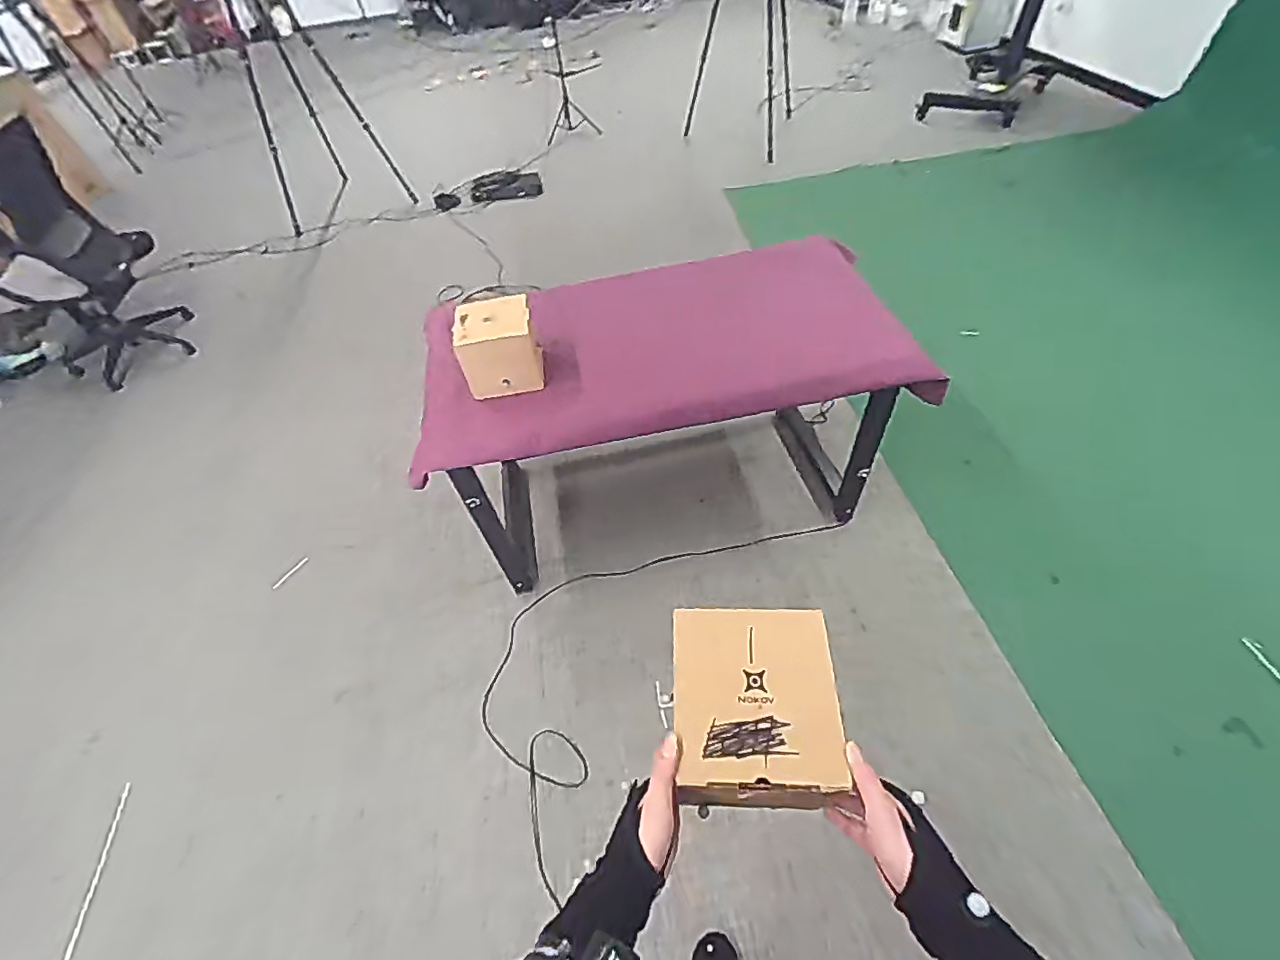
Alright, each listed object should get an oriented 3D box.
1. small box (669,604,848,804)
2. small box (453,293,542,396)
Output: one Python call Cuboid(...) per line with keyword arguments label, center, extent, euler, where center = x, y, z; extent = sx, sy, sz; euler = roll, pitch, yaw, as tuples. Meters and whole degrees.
Cuboid(label="small box", center=(0.117, 0.254, 0.607), extent=(0.168, 0.176, 0.179), euler=(0, 53, 3))
Cuboid(label="small box", center=(-0.339, -0.328, 1.319), extent=(0.179, 0.176, 0.168), euler=(-9, 51, -3))
